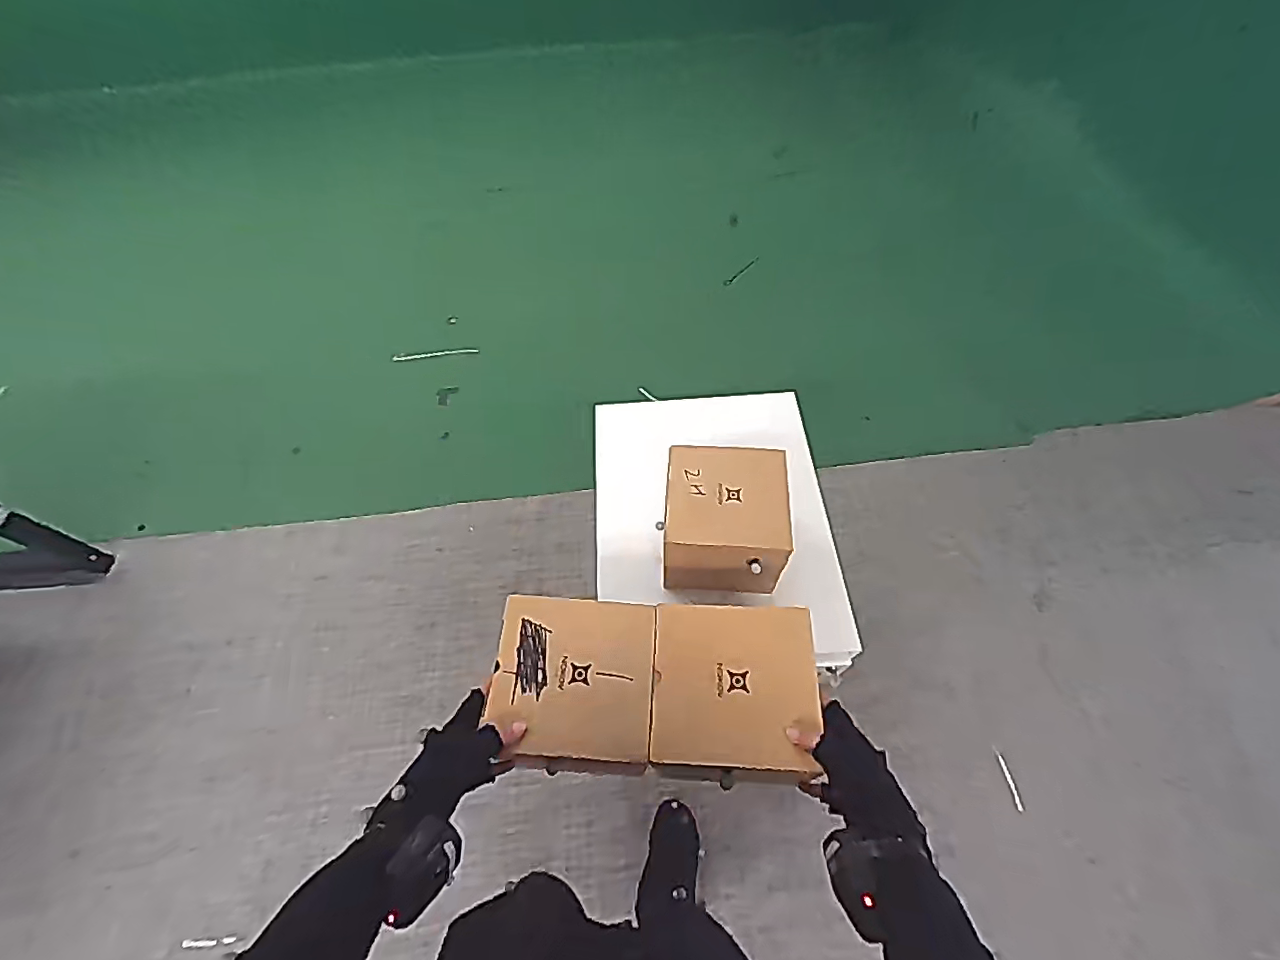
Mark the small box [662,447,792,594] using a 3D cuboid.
[{"bbox_3d":[0.126,0.067,0.832,0.179,0.176,0.168,3,58,5],"label":"small box"}]
